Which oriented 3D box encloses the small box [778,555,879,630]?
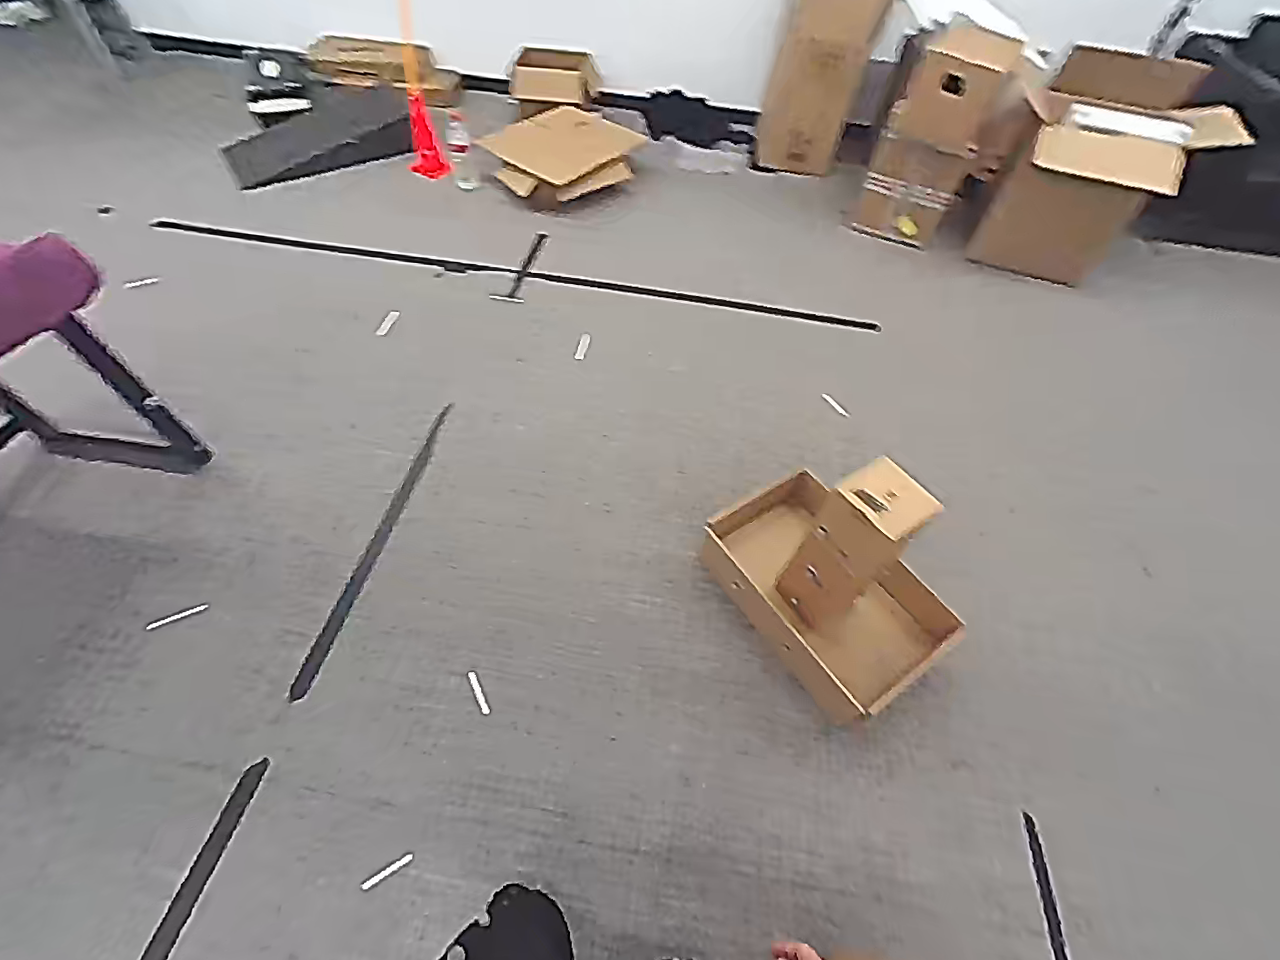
[{"bbox_3d":[0.513,0.285,1.498,0.179,0.176,0.168,-24,58,-20],"label":"small box"}]

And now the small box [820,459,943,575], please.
[{"bbox_3d":[0.537,0.089,1.238,0.179,0.176,0.168,-25,59,-22],"label":"small box"}]

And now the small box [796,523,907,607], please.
[{"bbox_3d":[0.524,0.189,1.368,0.179,0.176,0.168,-26,59,-20],"label":"small box"}]
